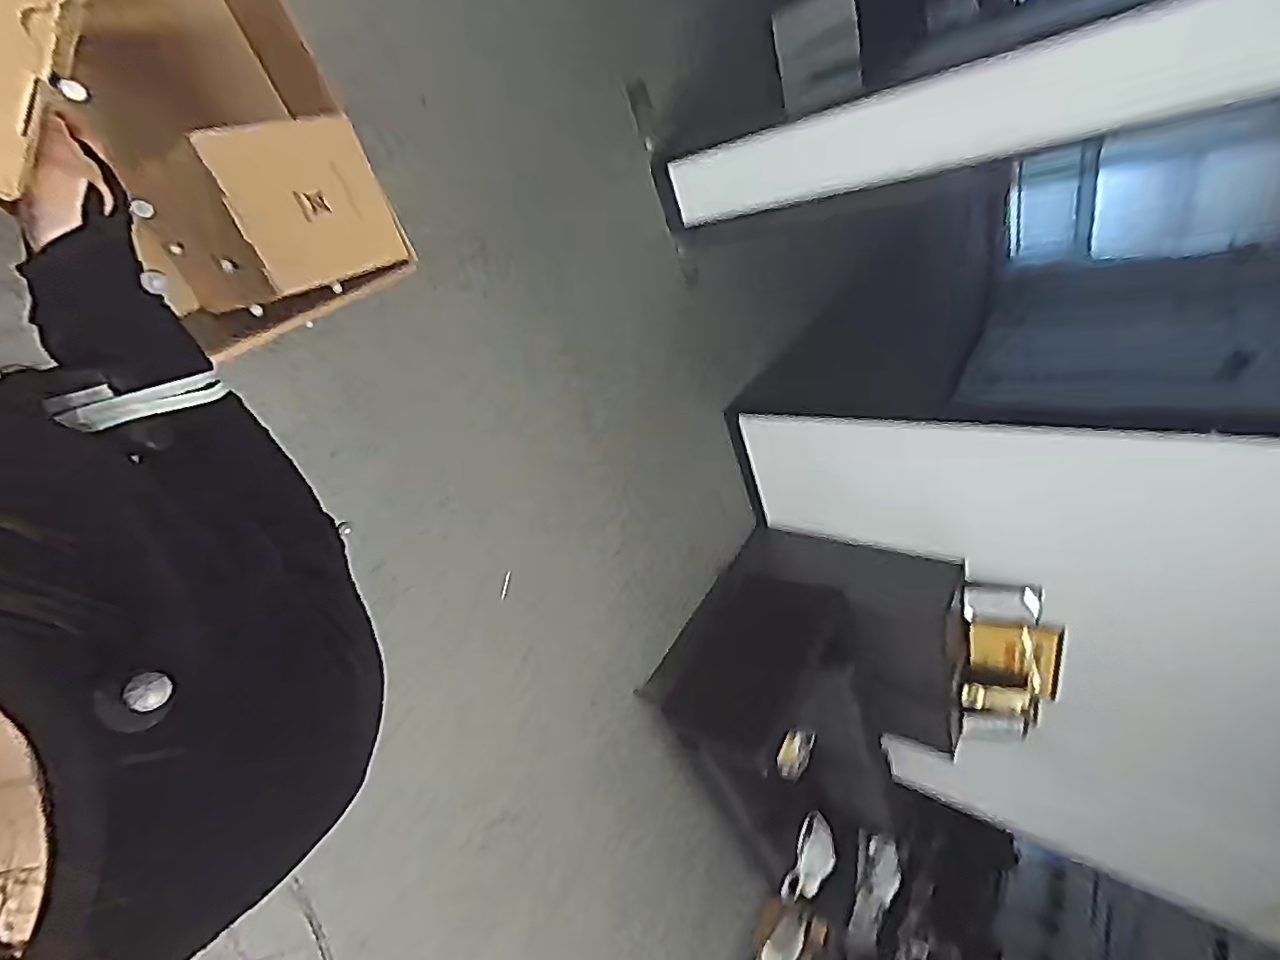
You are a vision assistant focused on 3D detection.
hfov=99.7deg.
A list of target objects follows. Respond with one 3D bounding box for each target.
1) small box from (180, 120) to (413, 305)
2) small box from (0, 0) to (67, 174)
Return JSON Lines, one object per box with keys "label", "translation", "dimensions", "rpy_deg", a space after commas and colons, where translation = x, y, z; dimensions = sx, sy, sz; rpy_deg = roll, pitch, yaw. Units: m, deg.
{"label": "small box", "translation": [-0.434, -0.330, 0.683], "dimensions": [0.179, 0.176, 0.168], "rpy_deg": [-41, 127, -38]}
{"label": "small box", "translation": [-0.394, -0.260, 0.242], "dimensions": [0.179, 0.176, 0.168], "rpy_deg": [12, 105, -49]}
